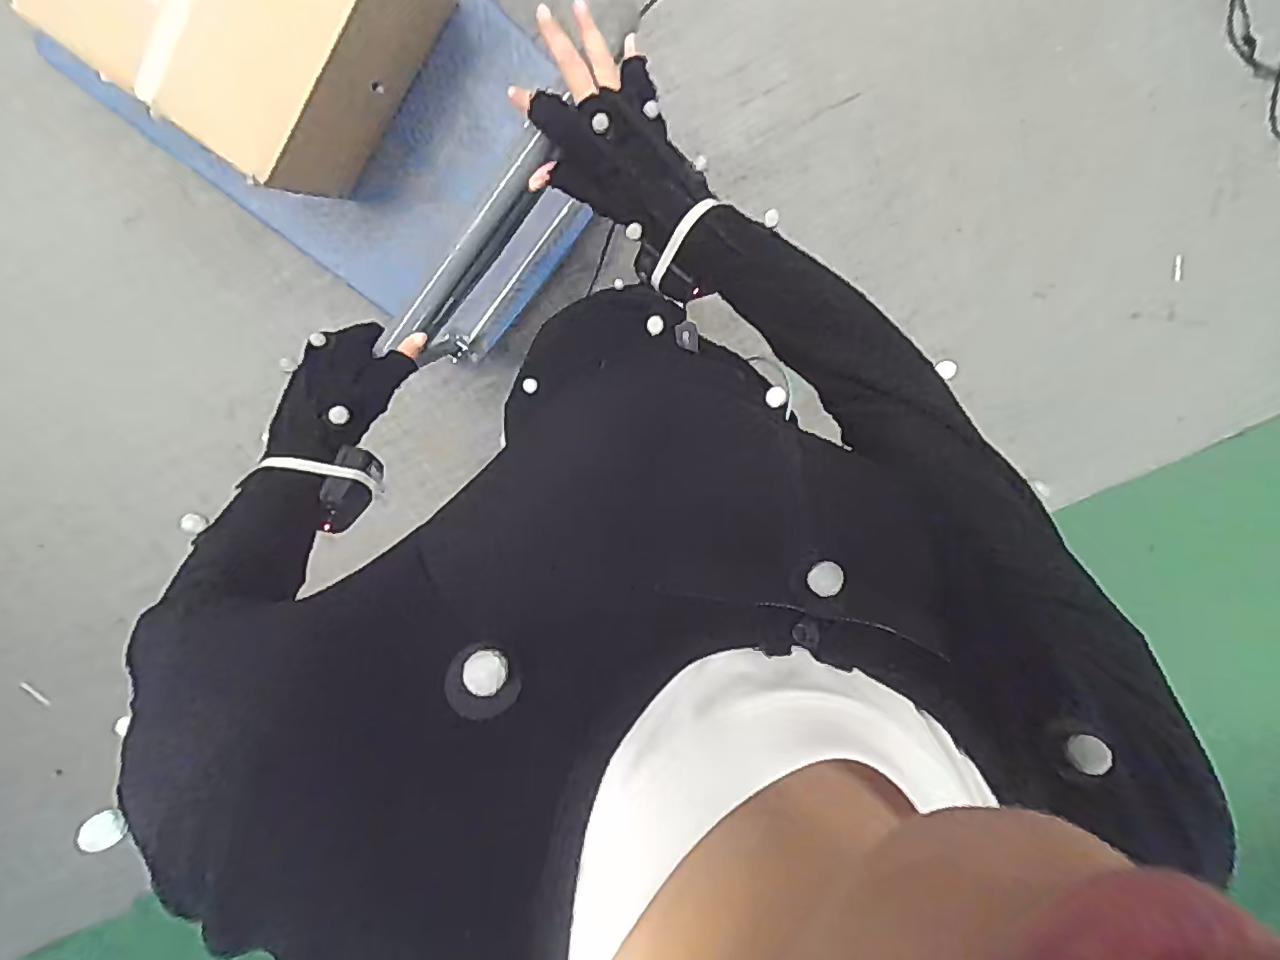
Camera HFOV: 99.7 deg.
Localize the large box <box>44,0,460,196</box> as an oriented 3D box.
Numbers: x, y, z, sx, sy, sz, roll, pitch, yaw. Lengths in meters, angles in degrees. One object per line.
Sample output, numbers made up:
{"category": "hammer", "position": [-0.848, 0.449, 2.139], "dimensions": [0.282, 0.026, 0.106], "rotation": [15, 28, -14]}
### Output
{"category": "large box", "position": [-0.531, -0.712, 0.811], "dimensions": [0.320, 0.320, 0.408], "rotation": [35, 107, -17]}
